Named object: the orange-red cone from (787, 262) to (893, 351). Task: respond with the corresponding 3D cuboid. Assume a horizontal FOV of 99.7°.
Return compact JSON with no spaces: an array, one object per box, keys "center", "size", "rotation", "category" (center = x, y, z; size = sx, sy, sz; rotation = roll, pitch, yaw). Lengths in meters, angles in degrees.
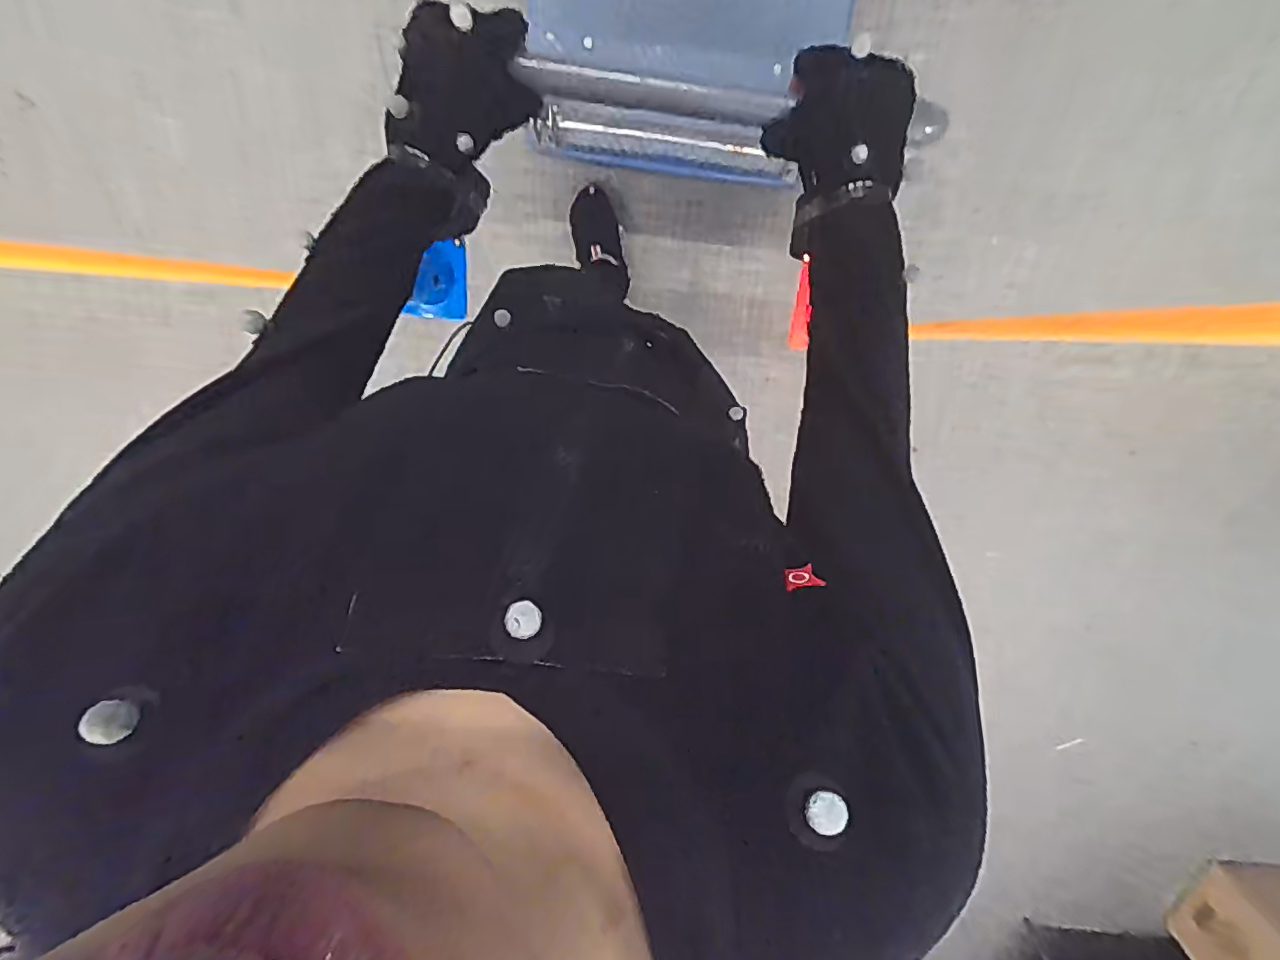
[{"center":[0.465,-0.360,1.178],"size":[0.199,0.360,0.198],"rotation":[7,113,1],"category":"orange-red cone"}]
